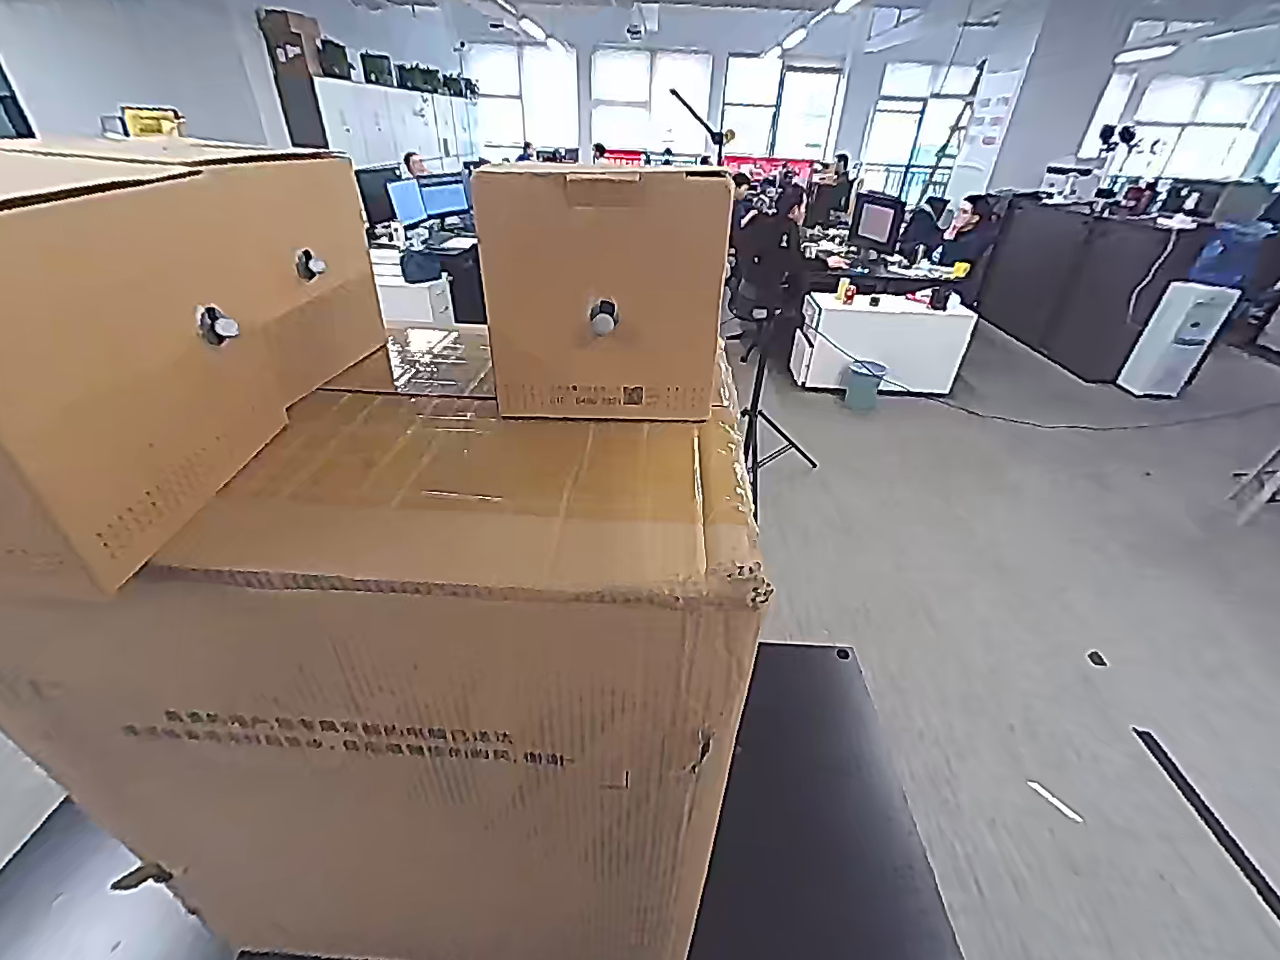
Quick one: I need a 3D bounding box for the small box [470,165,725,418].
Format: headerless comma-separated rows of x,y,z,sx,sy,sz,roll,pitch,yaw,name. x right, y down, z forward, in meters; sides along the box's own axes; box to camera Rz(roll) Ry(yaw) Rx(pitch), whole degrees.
-0.027,-0.160,0.450,0.168,0.176,0.179,1,32,-1,small box
